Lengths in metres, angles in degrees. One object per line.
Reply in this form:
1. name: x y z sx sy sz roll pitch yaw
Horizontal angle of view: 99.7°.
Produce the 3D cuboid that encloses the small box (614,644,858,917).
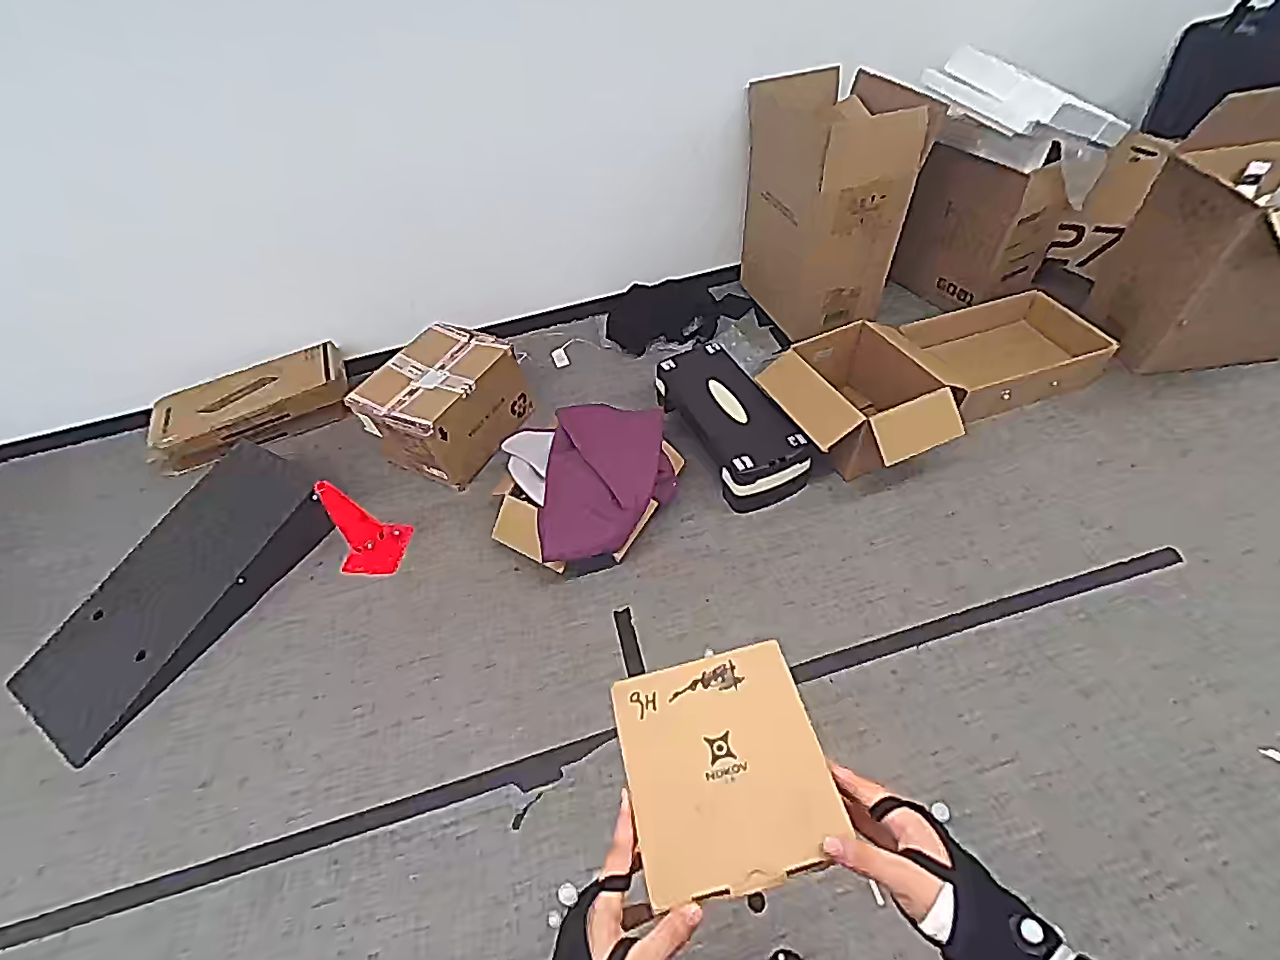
1. small box: 0.081 0.286 0.518 0.168 0.176 0.179 -14 53 -2
